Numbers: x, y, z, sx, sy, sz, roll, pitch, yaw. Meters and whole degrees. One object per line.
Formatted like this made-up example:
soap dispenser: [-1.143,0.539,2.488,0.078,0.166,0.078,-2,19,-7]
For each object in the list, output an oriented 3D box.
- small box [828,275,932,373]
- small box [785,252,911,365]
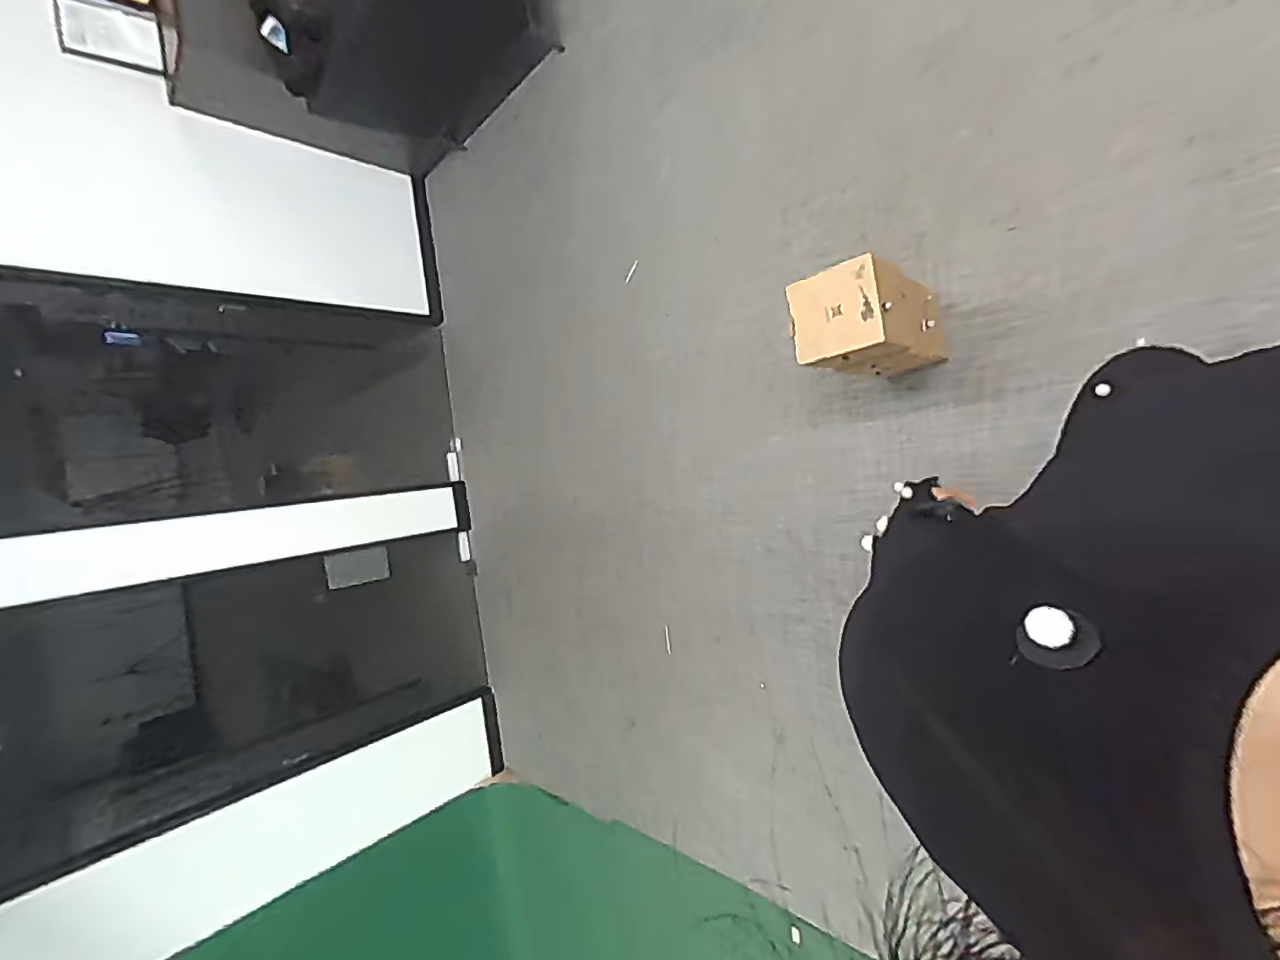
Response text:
small box: [0.531,-0.342,1.217,0.179,0.176,0.168,-9,90,43]
small box: [0.421,-0.334,1.095,0.179,0.176,0.168,-9,90,45]
